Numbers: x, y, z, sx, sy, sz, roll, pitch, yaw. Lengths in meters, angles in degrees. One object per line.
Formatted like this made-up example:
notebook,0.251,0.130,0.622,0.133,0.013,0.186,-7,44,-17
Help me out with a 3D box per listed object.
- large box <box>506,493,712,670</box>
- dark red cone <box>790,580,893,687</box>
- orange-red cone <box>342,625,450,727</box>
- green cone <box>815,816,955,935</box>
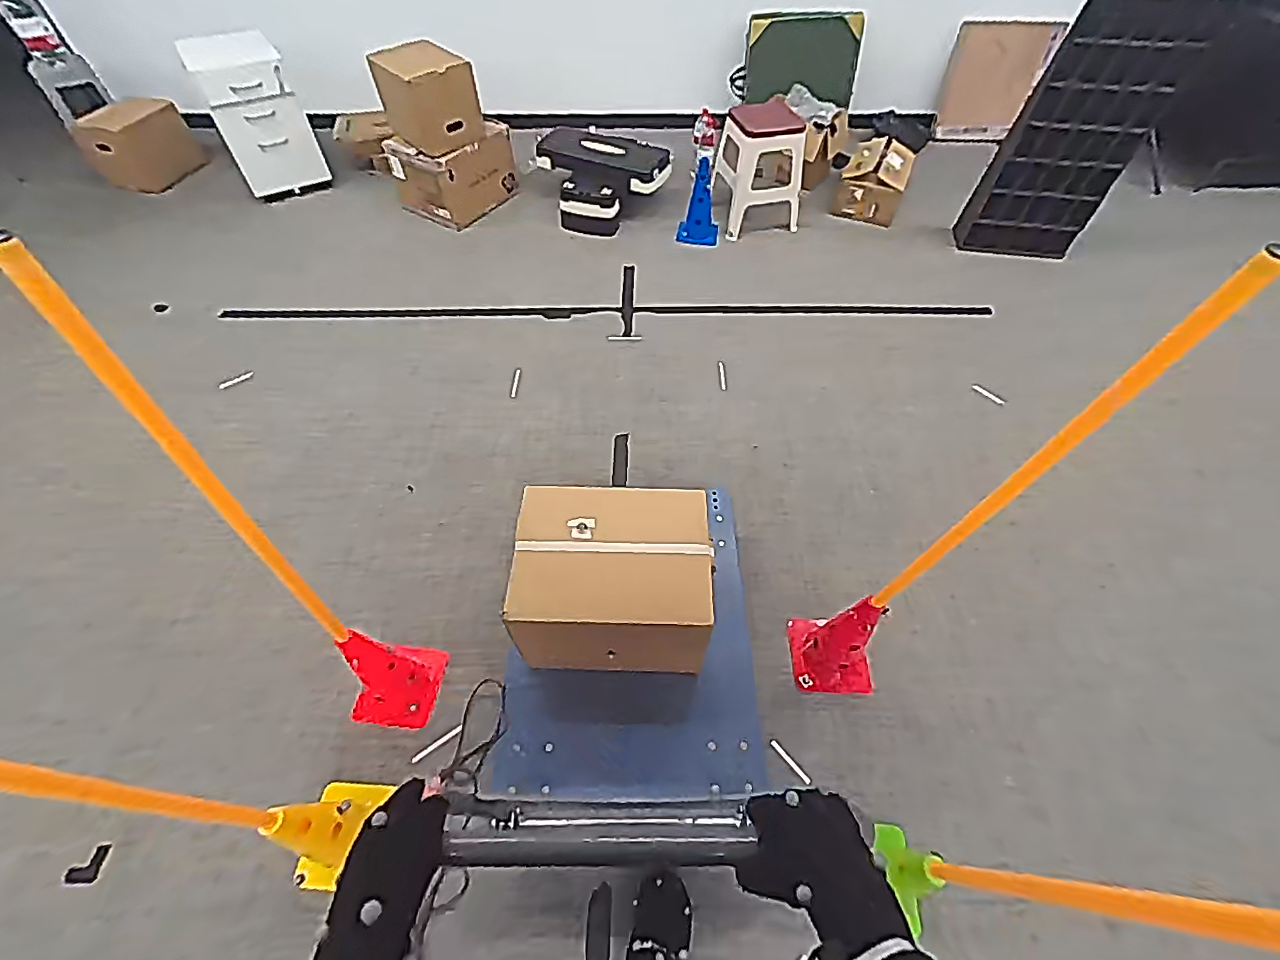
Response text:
large box,-0.055,0.241,1.238,0.408,0.320,0.320,1,54,1
dark red cone,0.516,0.351,1.312,0.201,0.394,0.202,1,54,-1
orange-red cone,-0.615,0.427,1.279,0.198,0.360,0.199,7,52,4
green cone,0.493,0.750,1.036,0.202,0.368,0.200,4,53,2
